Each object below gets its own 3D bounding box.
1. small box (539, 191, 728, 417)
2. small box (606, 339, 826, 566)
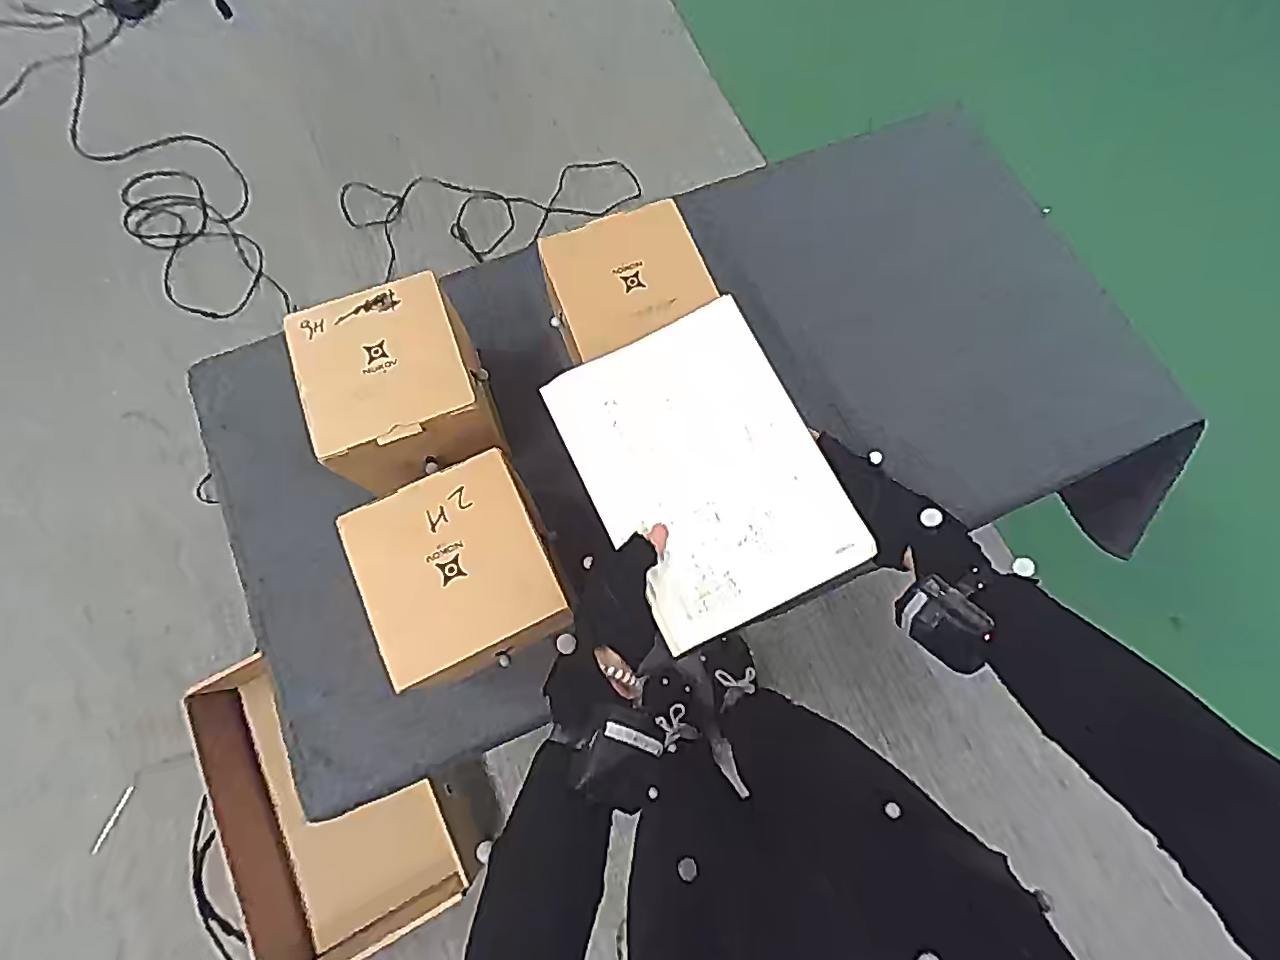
[{"bbox_3d":[-0.011,-0.205,0.664,0.168,0.176,0.179,-20,76,-5],"label":"small box"},{"bbox_3d":[0.072,-0.019,0.605,0.168,0.176,0.179,-23,76,-4],"label":"small box"}]
